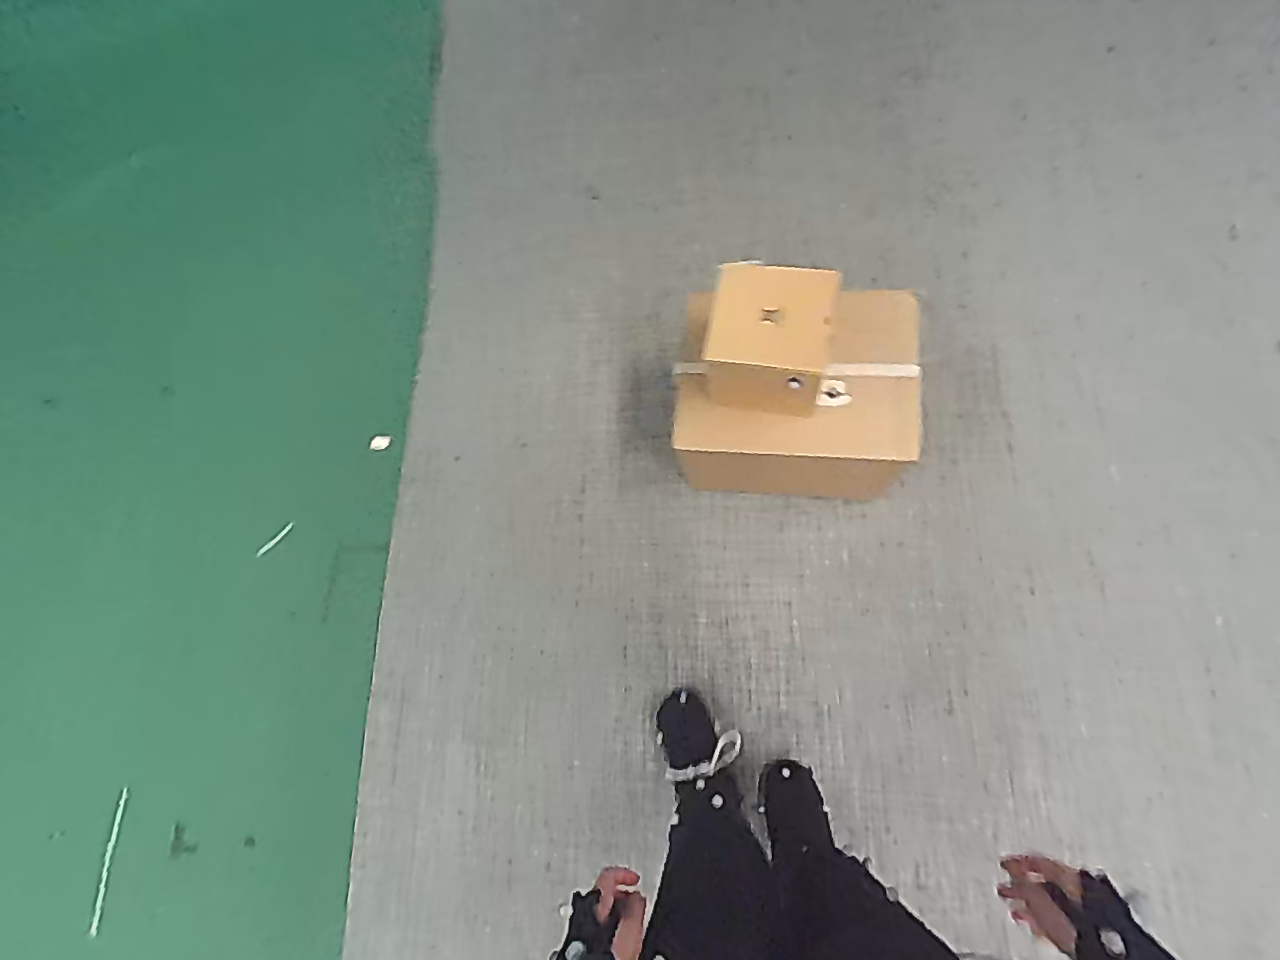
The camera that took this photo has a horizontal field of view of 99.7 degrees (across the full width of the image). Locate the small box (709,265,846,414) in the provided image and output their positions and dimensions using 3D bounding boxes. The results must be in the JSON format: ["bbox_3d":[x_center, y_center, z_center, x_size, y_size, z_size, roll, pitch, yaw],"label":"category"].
[{"bbox_3d":[0.215,-0.217,0.866,0.179,0.176,0.168,10,77,13],"label":"small box"}]

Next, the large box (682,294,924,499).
[{"bbox_3d":[0.305,-0.152,1.087,0.408,0.320,0.320,4,77,11],"label":"large box"}]
